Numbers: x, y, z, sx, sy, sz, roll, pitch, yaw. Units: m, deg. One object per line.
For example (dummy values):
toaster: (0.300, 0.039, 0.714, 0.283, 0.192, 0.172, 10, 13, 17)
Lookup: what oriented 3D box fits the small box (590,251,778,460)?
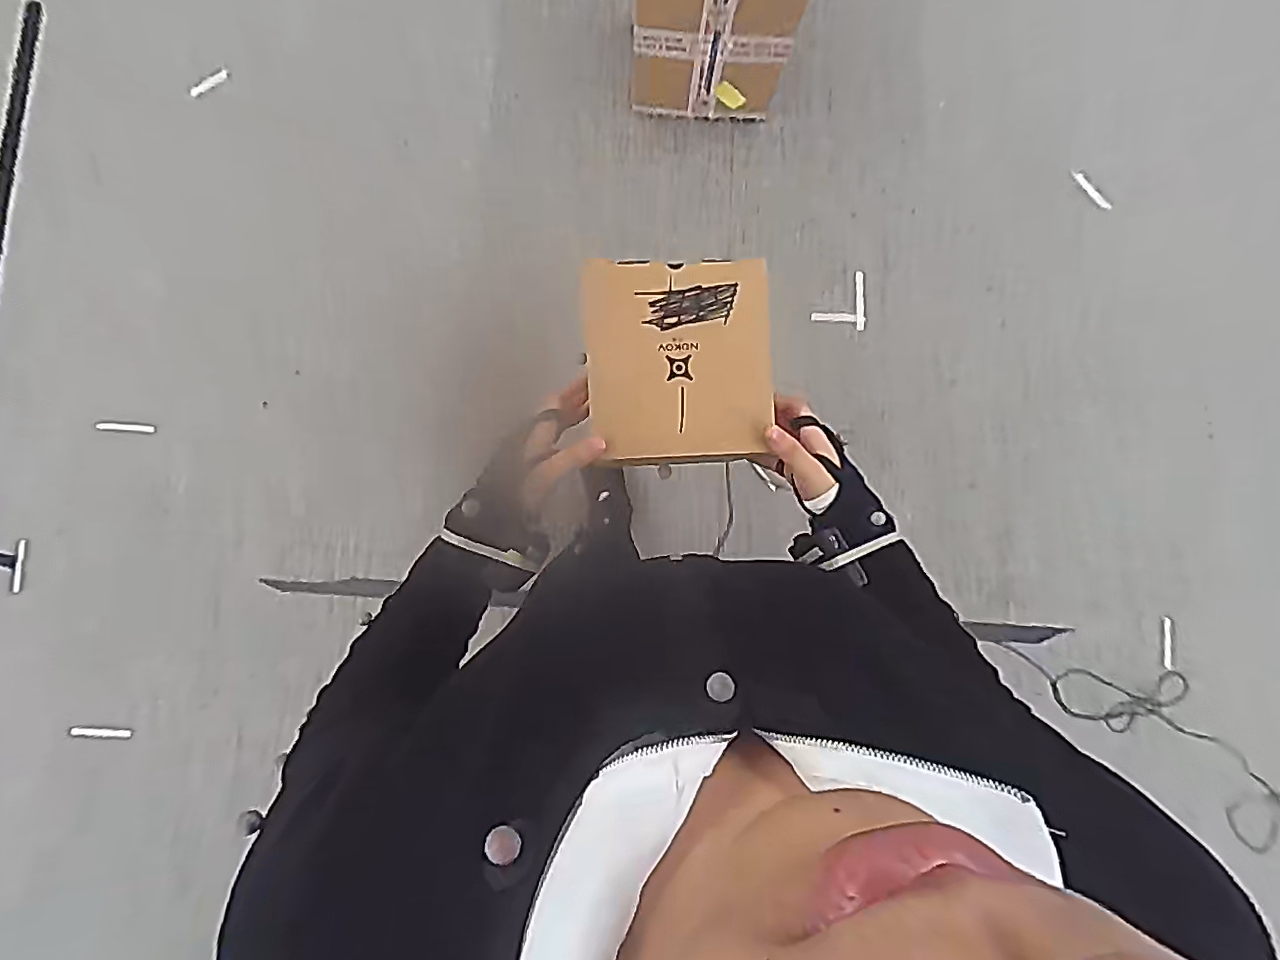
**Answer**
small box: (0.034, -0.114, 0.558, 0.168, 0.176, 0.179, -3, 90, -3)
